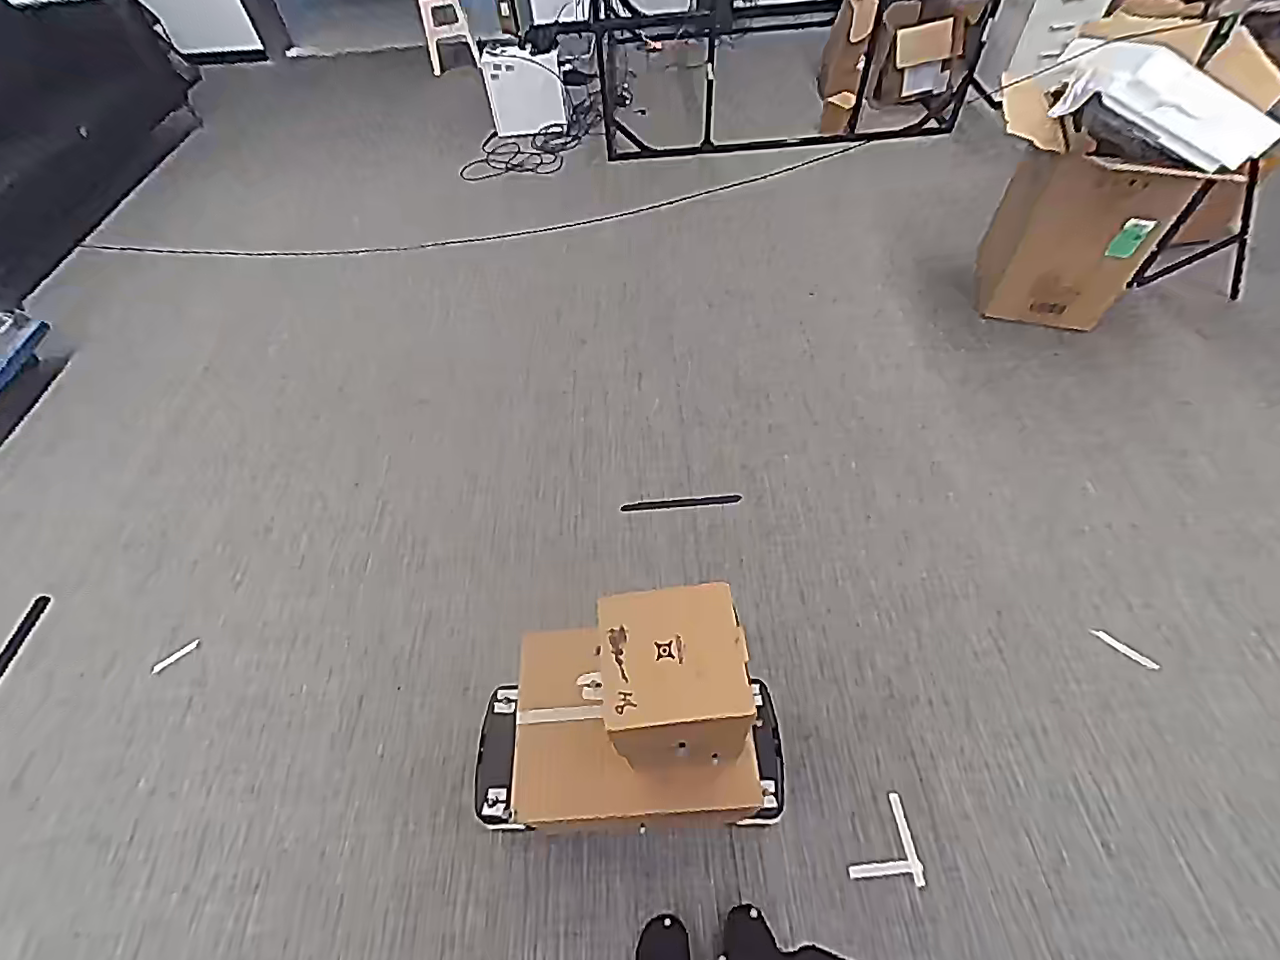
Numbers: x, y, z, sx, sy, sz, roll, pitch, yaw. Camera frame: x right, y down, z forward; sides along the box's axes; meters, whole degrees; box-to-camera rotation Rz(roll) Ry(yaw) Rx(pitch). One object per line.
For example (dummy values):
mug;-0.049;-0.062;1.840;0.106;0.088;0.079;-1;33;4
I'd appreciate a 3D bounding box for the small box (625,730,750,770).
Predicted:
small box;0.064;0.347;0.847;0.179;0.176;0.168;-6;54;1

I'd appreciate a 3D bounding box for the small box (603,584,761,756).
small box;0.047;0.254;0.713;0.179;0.176;0.168;-5;52;0

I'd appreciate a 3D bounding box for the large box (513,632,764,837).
large box;0.000;0.491;1.050;0.408;0.320;0.320;-5;53;2
